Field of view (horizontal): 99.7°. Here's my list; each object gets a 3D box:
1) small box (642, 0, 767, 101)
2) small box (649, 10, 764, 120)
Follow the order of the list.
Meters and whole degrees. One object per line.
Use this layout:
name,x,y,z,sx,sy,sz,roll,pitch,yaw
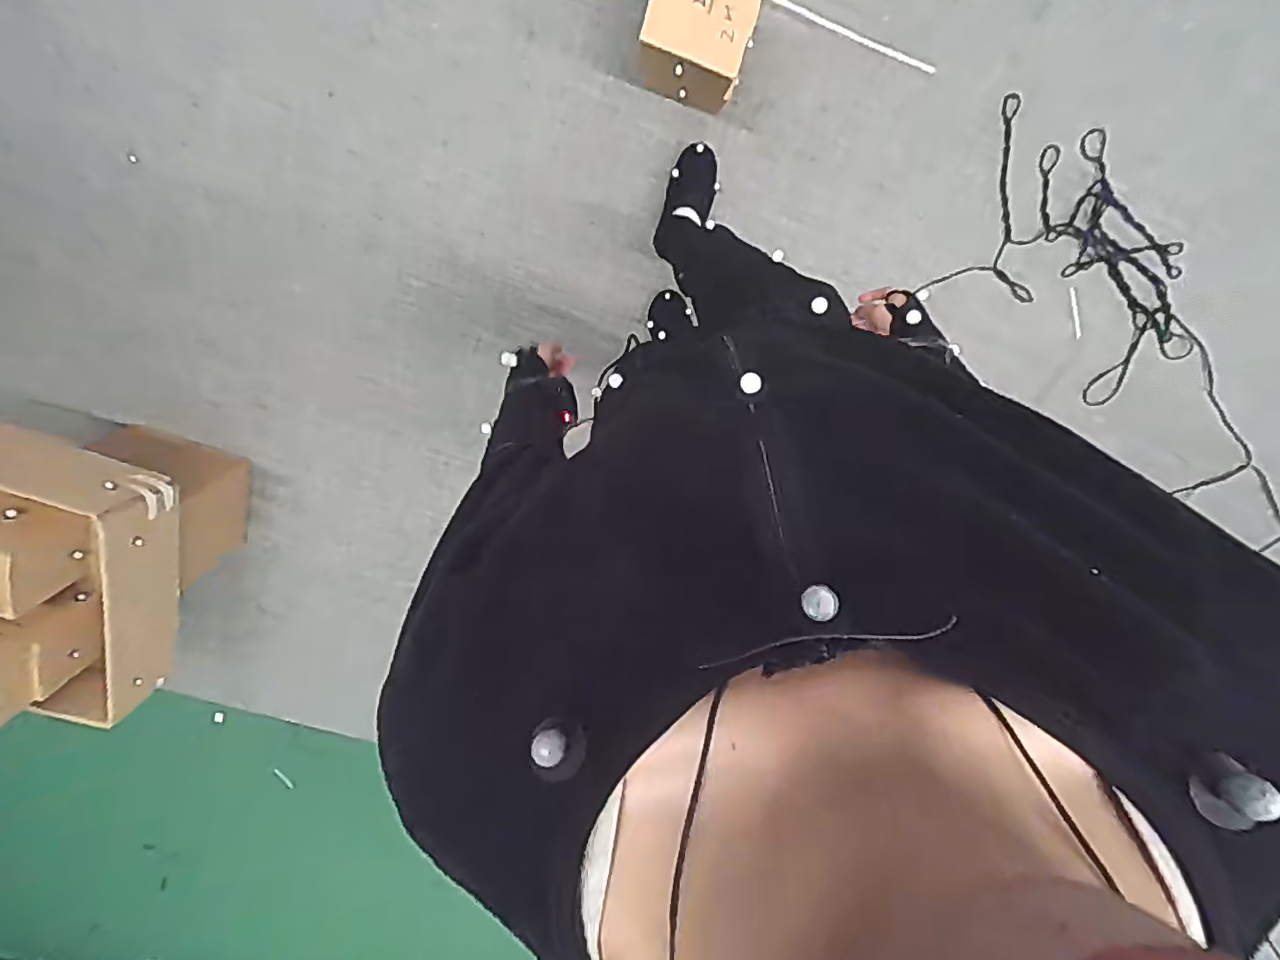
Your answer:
small box,0.111,-0.795,0.943,0.179,0.176,0.168,18,114,-7
small box,0.125,-0.860,1.094,0.179,0.176,0.168,17,114,-7
